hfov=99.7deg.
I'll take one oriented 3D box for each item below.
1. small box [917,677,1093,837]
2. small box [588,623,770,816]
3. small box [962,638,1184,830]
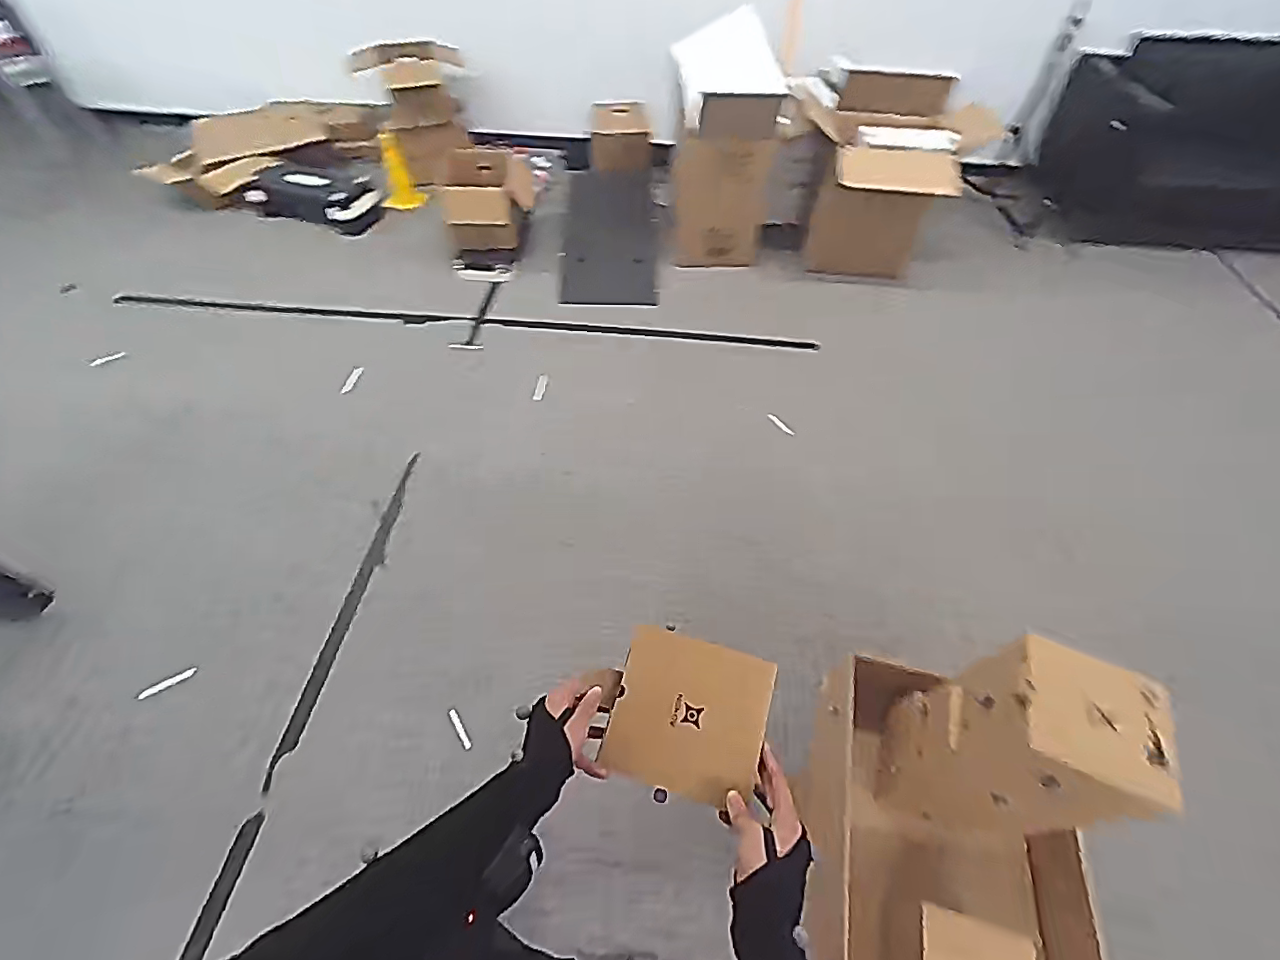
[{"bbox_3d":[0.576,0.454,0.877,0.179,0.176,0.168,20,55,11],"label":"small box"},{"bbox_3d":[0.052,0.297,0.689,0.179,0.176,0.168,13,68,11],"label":"small box"},{"bbox_3d":[0.577,0.354,0.746,0.179,0.176,0.168,22,55,14],"label":"small box"}]
